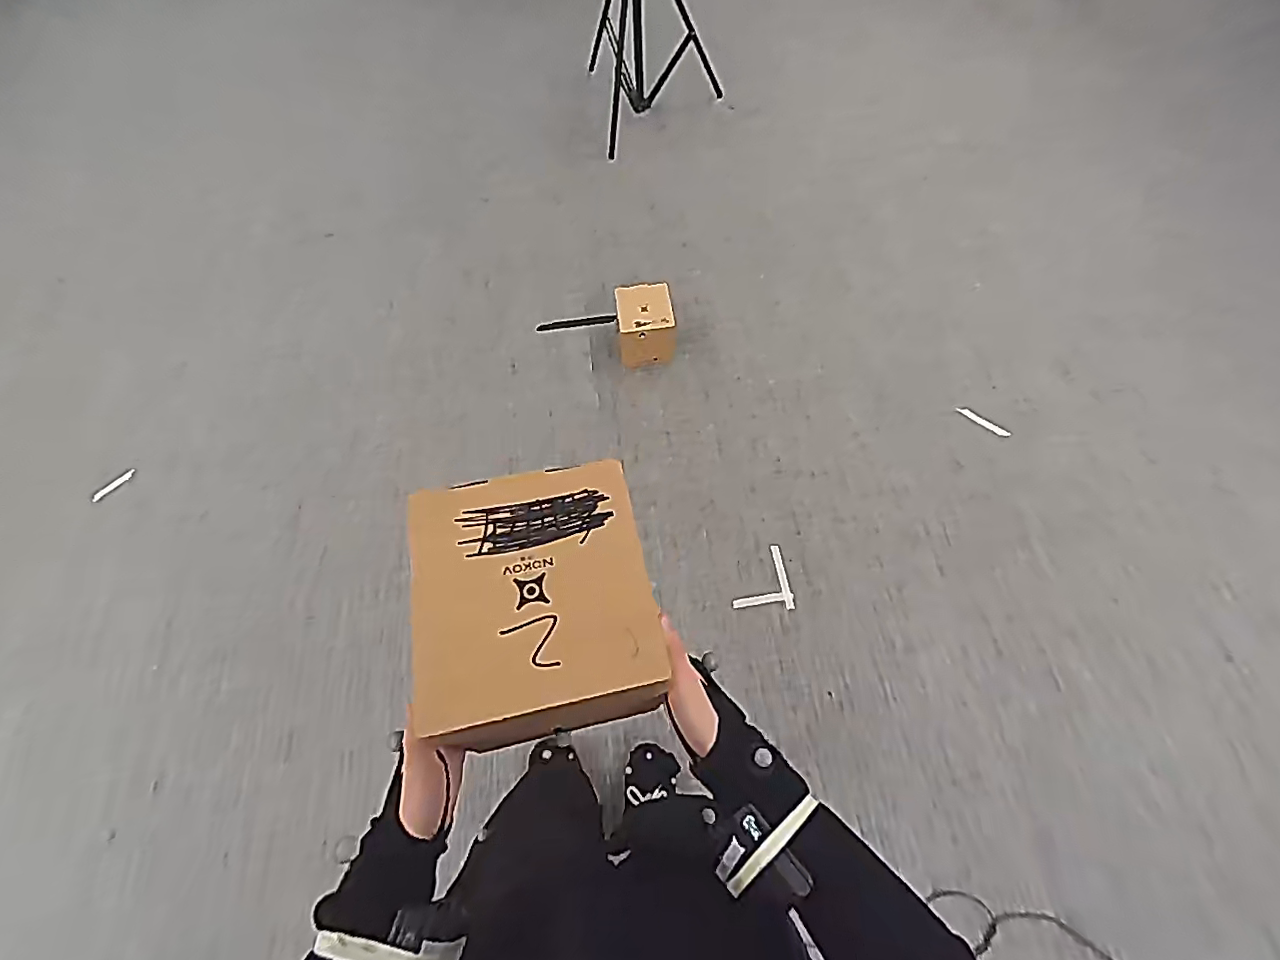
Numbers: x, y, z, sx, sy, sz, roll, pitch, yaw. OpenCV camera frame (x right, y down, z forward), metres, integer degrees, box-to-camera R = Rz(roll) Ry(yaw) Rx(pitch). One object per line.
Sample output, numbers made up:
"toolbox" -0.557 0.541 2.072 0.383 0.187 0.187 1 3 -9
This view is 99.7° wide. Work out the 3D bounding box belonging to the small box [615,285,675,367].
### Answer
"small box" 0.013 -0.480 1.698 0.168 0.176 0.179 -8 64 -2
